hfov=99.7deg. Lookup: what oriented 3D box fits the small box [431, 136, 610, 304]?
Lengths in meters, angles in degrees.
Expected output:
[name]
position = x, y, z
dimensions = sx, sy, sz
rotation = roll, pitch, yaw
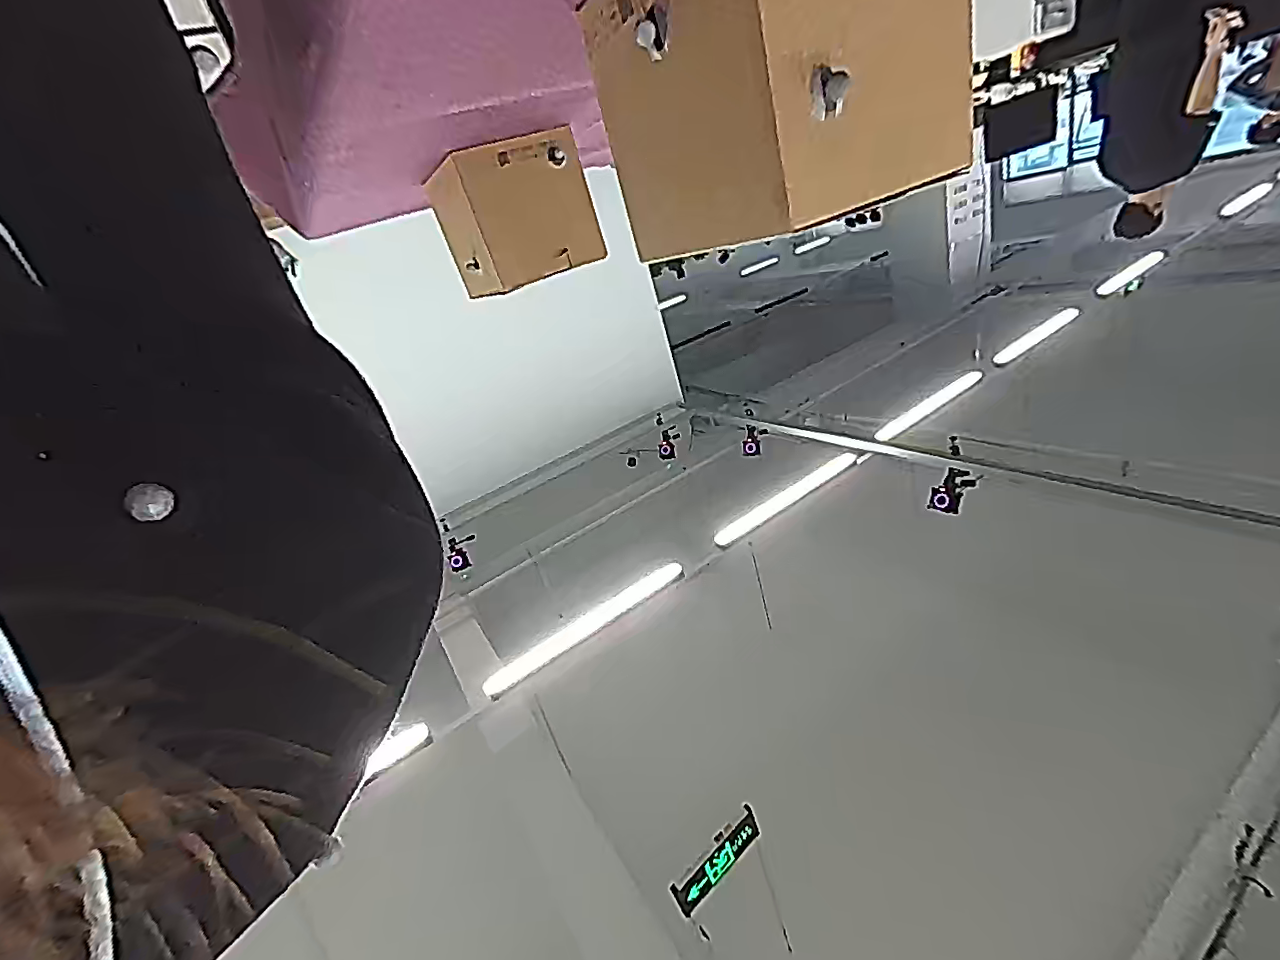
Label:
[small box]
position = -0.174, -0.365, 0.768
dimensions = 0.168, 0.176, 0.179
rotation = -29, -153, -22
